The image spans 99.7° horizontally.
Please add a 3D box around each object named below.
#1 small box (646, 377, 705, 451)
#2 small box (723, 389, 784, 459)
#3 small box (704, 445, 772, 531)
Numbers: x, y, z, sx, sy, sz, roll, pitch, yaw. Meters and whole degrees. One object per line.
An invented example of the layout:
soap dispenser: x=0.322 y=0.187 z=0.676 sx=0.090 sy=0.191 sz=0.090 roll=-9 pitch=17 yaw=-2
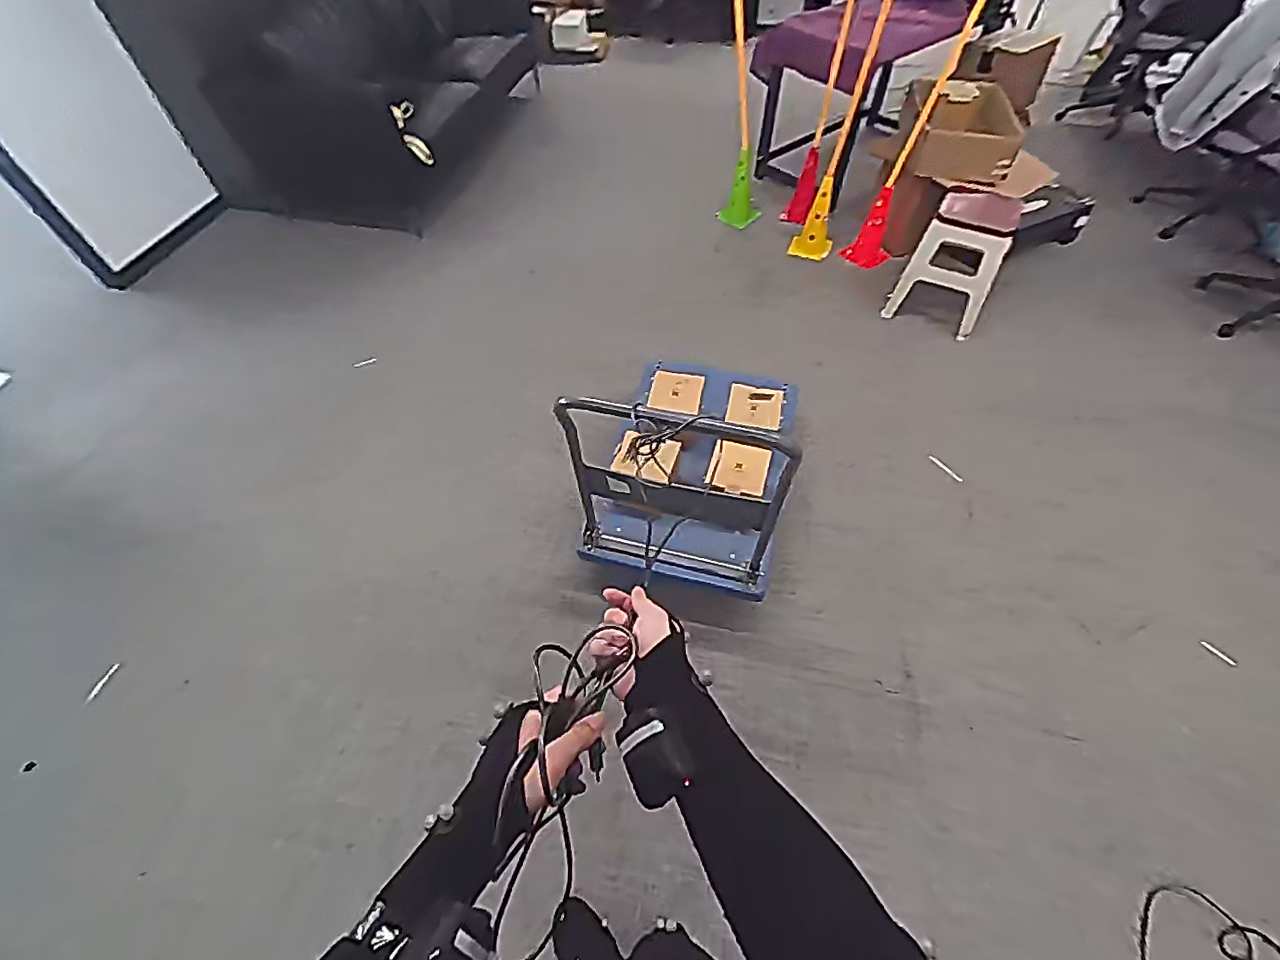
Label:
small box: x=0.120 y=-0.218 z=1.813 sx=0.168 sy=0.176 sz=0.179 roll=9 pitch=55 yaw=8
small box: x=0.366 y=-0.167 z=1.764 sx=0.168 sy=0.176 sz=0.179 roll=10 pitch=56 yaw=11
small box: x=0.291 y=0.027 z=1.629 sx=0.168 sy=0.176 sz=0.179 roll=13 pitch=57 yaw=12
